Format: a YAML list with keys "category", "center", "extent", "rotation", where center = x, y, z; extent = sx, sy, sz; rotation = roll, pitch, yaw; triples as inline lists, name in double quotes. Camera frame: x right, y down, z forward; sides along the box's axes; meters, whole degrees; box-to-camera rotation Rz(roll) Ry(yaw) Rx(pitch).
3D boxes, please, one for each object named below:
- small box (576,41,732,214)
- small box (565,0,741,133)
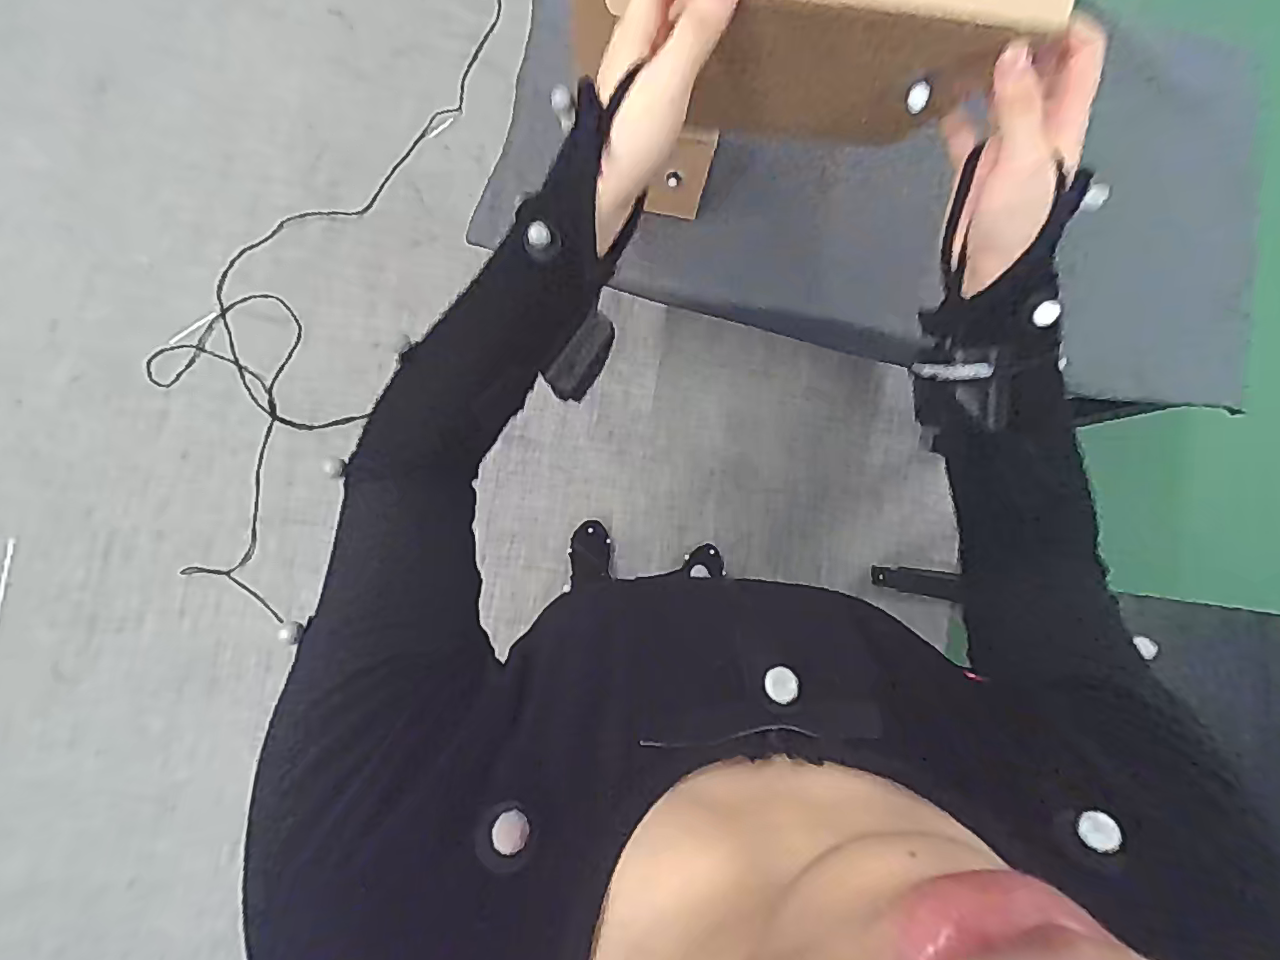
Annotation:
- category: "small box"
  center: [0.015, -0.495, 0.740]
  extent: [0.179, 0.176, 0.168]
  rotation: [8, 83, -2]
- category: "small box"
  center: [0.015, -0.512, 0.576]
  extent: [0.168, 0.176, 0.179]
  rotation: [4, 82, -4]
